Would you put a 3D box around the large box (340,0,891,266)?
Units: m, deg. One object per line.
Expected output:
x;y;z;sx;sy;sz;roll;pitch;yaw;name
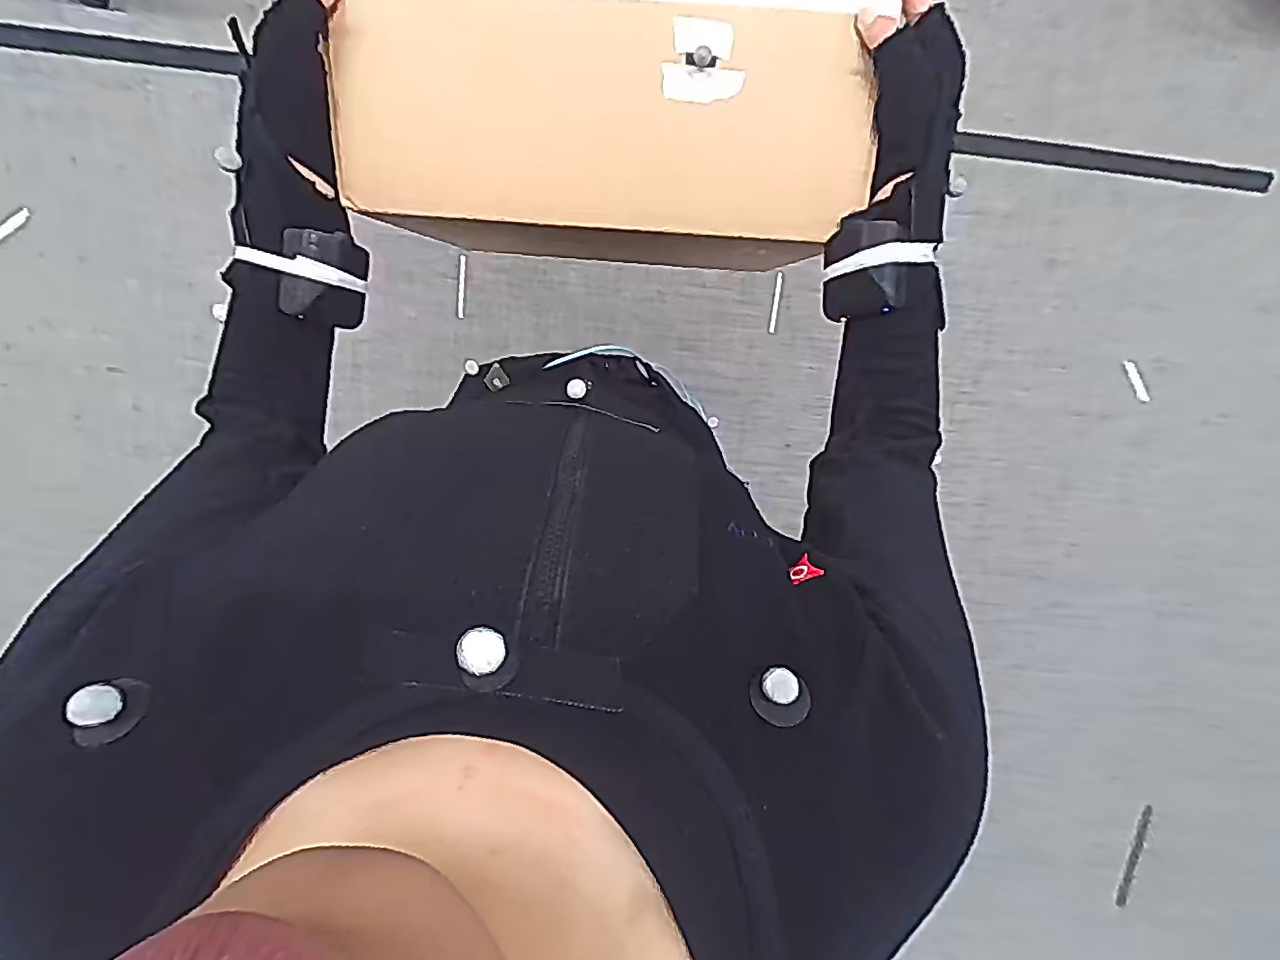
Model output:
-0.020;-0.394;0.530;0.408;0.320;0.320;3;109;-2;large box
